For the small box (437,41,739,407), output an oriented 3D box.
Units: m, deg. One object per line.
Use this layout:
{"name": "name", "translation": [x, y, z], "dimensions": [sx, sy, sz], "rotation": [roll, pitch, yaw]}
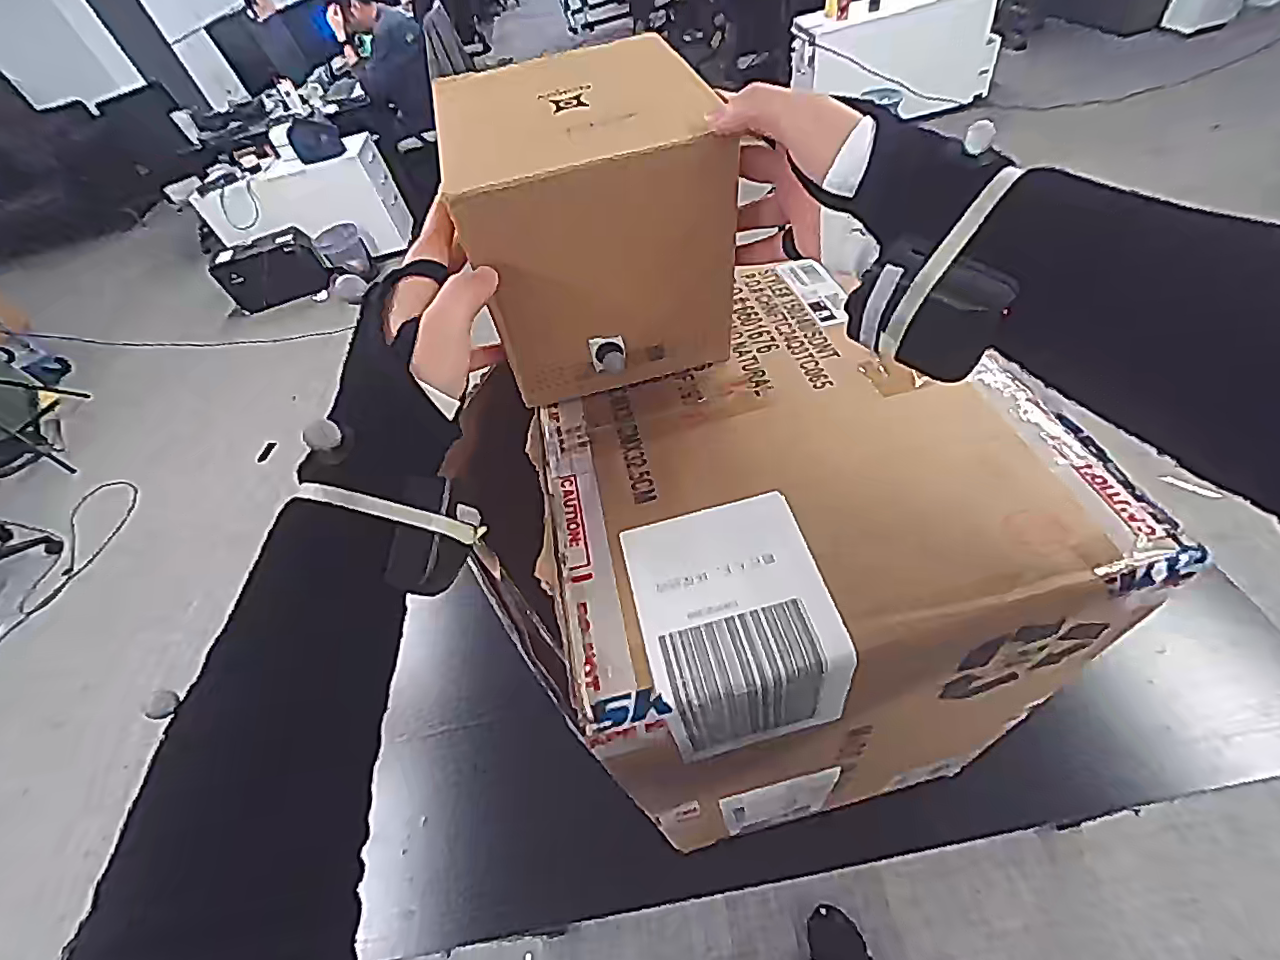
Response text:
{"name": "small box", "translation": [-0.036, -0.185, 0.403], "dimensions": [0.168, 0.176, 0.179], "rotation": [-16, 55, -3]}
